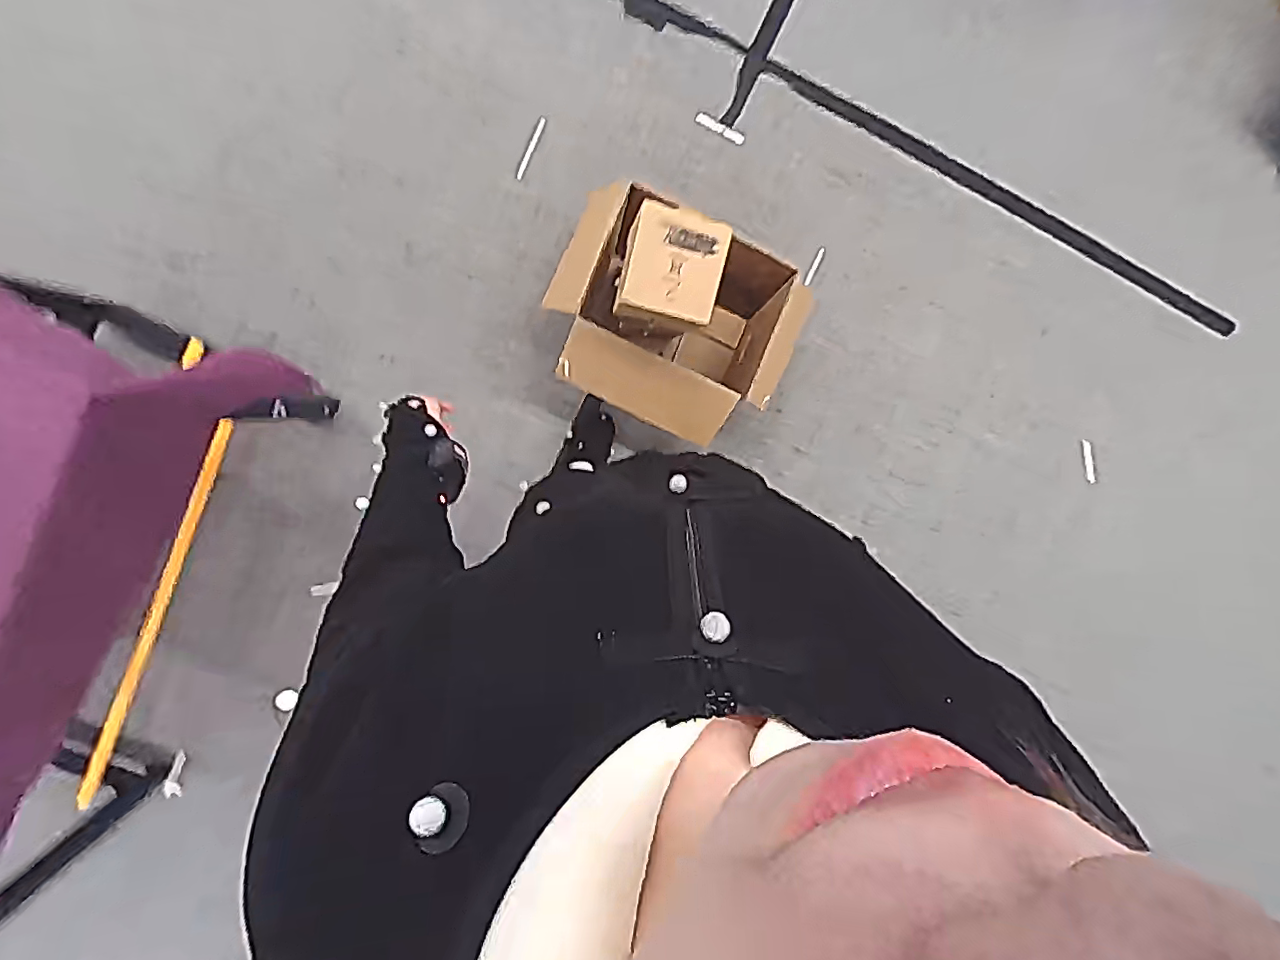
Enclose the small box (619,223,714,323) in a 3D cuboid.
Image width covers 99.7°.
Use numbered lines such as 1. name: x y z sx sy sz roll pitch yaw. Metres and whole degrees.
1. small box: 0.049 -0.443 1.184 0.179 0.176 0.168 3 99 -9
